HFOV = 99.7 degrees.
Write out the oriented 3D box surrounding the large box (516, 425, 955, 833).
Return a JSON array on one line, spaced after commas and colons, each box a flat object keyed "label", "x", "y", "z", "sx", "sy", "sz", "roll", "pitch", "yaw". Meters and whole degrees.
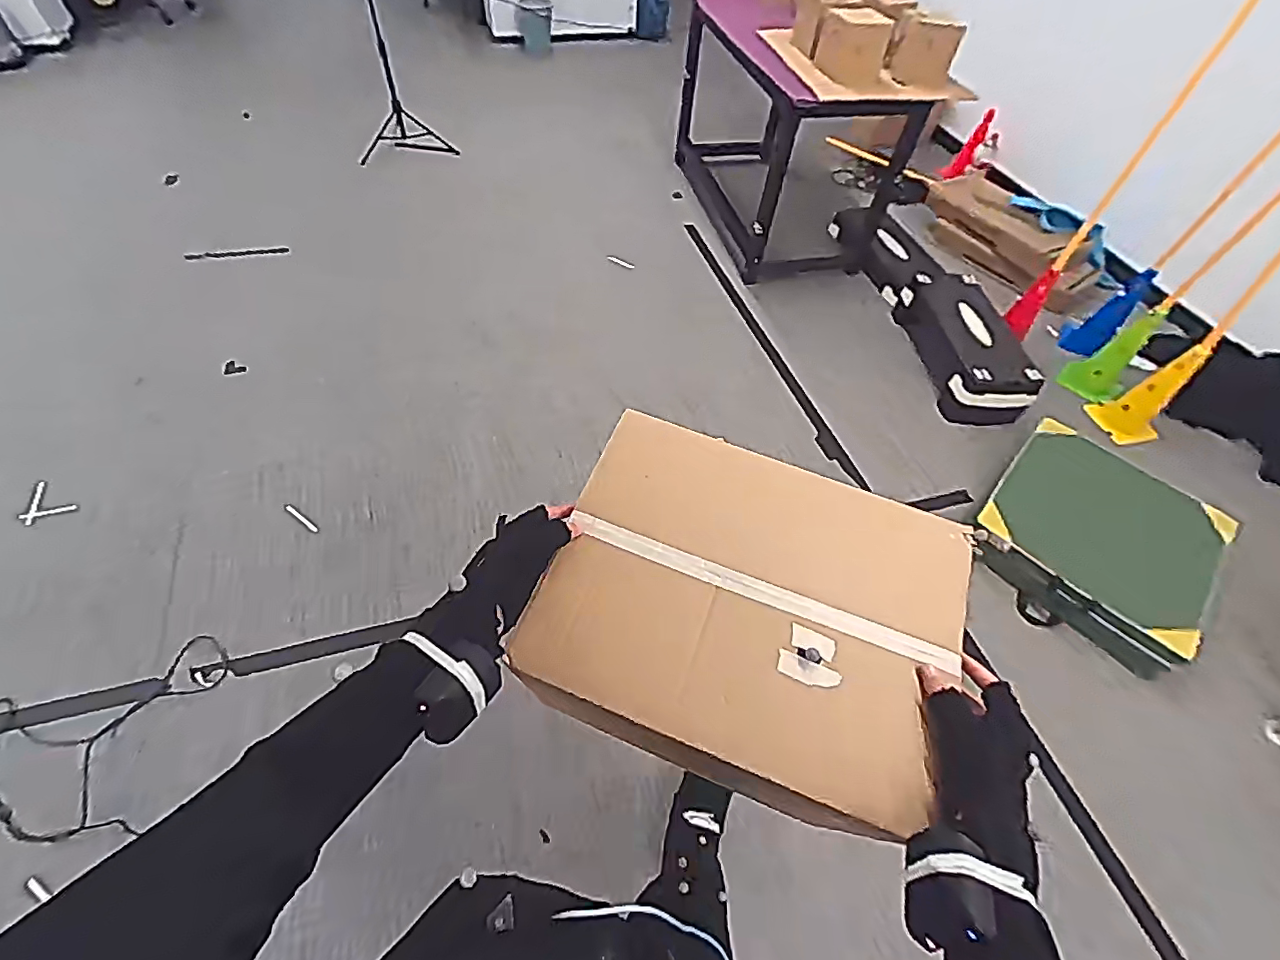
[{"label": "large box", "x": 0.106, "y": 0.189, "z": 0.690, "sx": 0.408, "sy": 0.320, "sz": 0.320, "roll": 20, "pitch": 63, "yaw": 8}]
